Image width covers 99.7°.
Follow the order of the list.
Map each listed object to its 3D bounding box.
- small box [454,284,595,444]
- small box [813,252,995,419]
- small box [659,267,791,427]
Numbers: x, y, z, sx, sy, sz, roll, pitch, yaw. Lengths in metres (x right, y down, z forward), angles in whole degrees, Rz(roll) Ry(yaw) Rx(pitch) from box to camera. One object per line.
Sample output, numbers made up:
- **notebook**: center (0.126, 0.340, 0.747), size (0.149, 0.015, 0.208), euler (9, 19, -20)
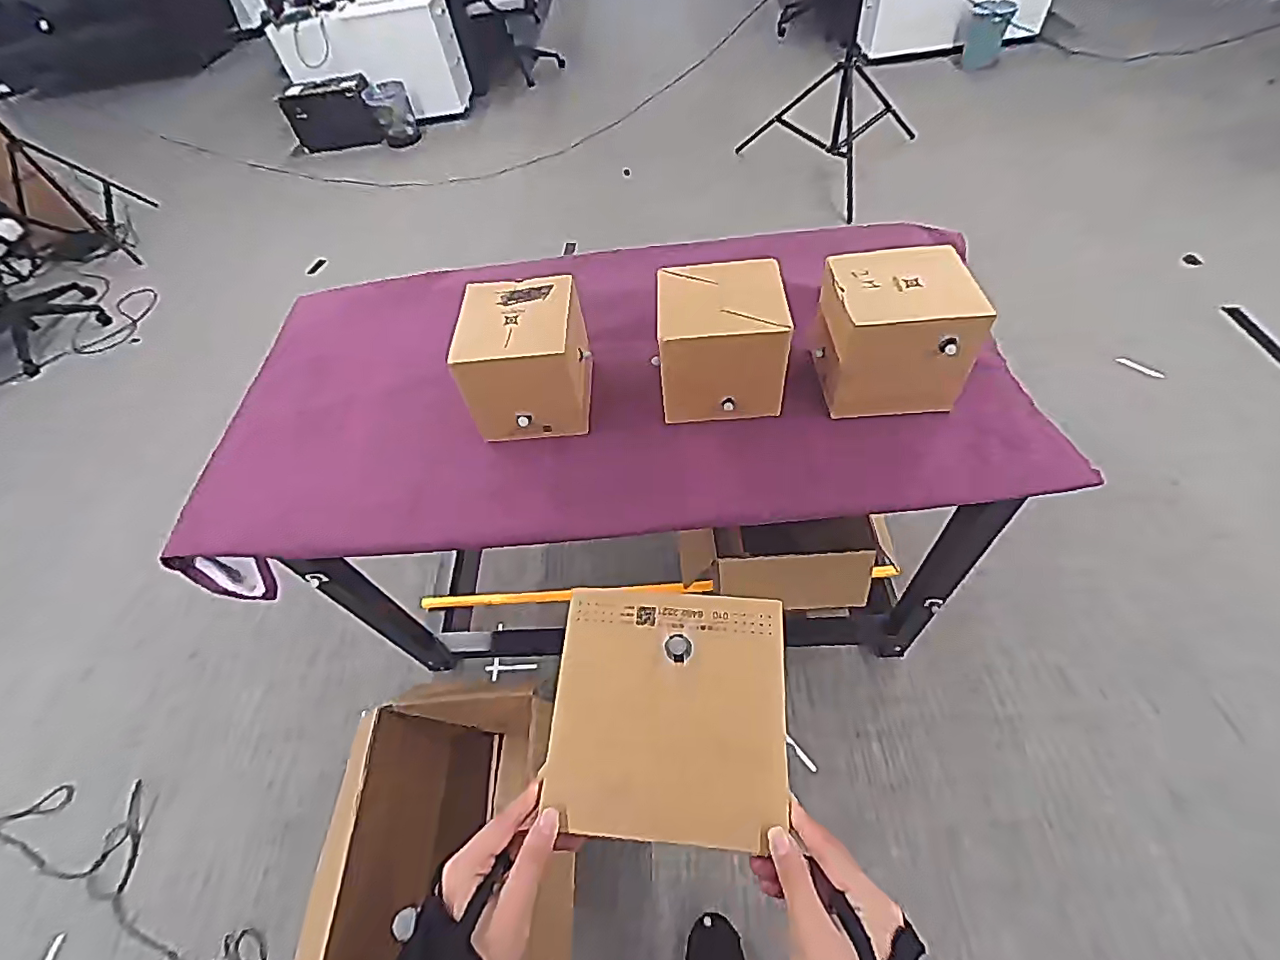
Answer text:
- **small box**: center (-0.166, -0.177, 0.843), size (0.168, 0.176, 0.179), euler (-4, 54, 5)
- **small box**: center (0.365, -0.205, 0.787), size (0.179, 0.176, 0.168), euler (-3, 51, 5)
- **small box**: center (0.121, -0.200, 0.816), size (0.179, 0.176, 0.168), euler (-3, 52, 6)
